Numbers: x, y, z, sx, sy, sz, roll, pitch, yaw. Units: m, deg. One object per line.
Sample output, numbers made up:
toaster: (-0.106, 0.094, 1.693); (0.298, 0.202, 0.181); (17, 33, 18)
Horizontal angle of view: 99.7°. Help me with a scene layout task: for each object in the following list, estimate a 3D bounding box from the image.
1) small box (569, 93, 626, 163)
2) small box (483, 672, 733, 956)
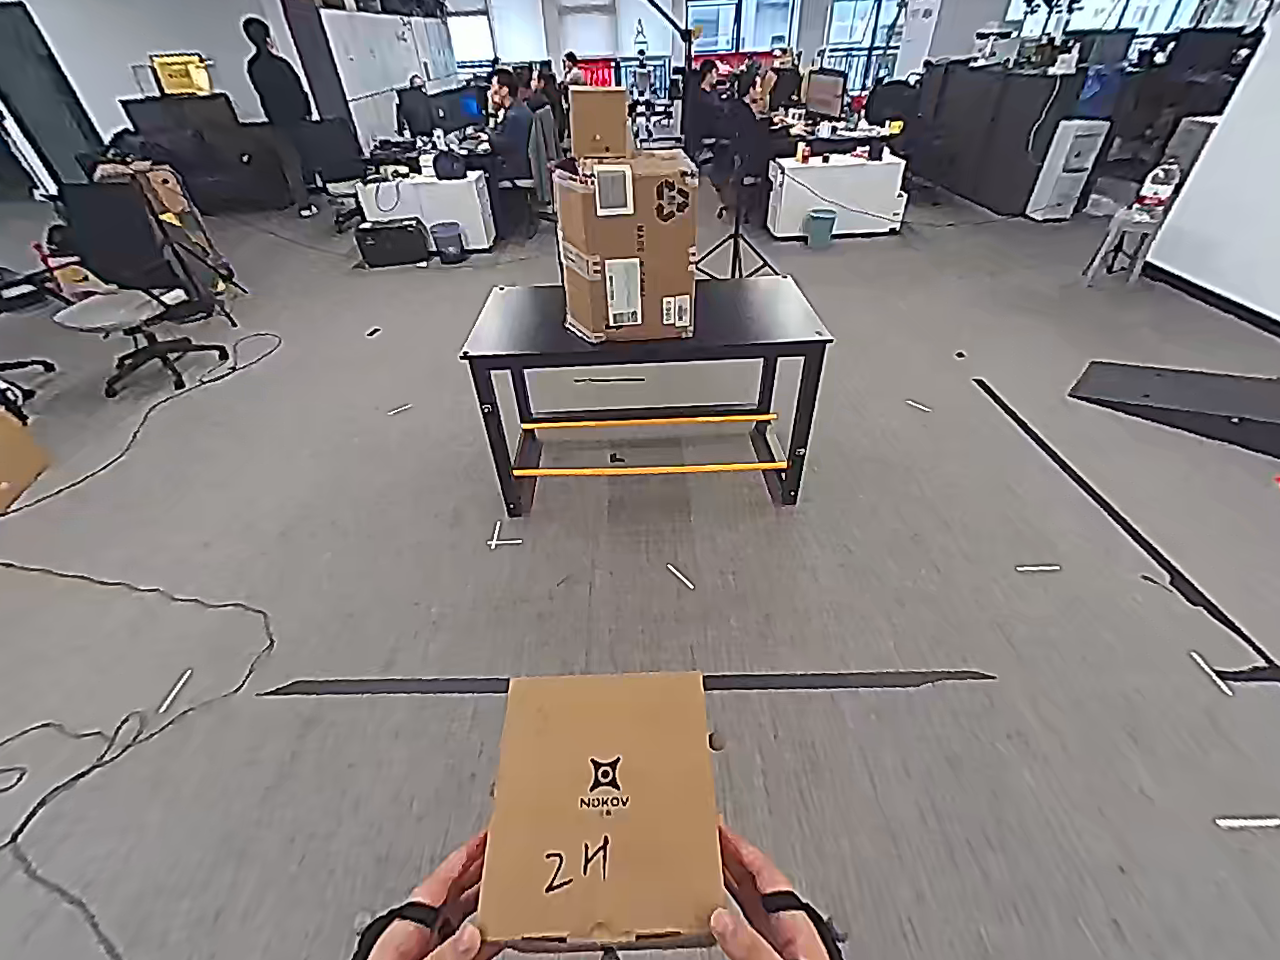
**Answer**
small box: (-0.132, -1.079, 1.653); (0.168, 0.176, 0.179); (-4, 37, -6)
small box: (-0.020, 0.285, 0.462); (0.168, 0.176, 0.179); (-3, 47, 1)
